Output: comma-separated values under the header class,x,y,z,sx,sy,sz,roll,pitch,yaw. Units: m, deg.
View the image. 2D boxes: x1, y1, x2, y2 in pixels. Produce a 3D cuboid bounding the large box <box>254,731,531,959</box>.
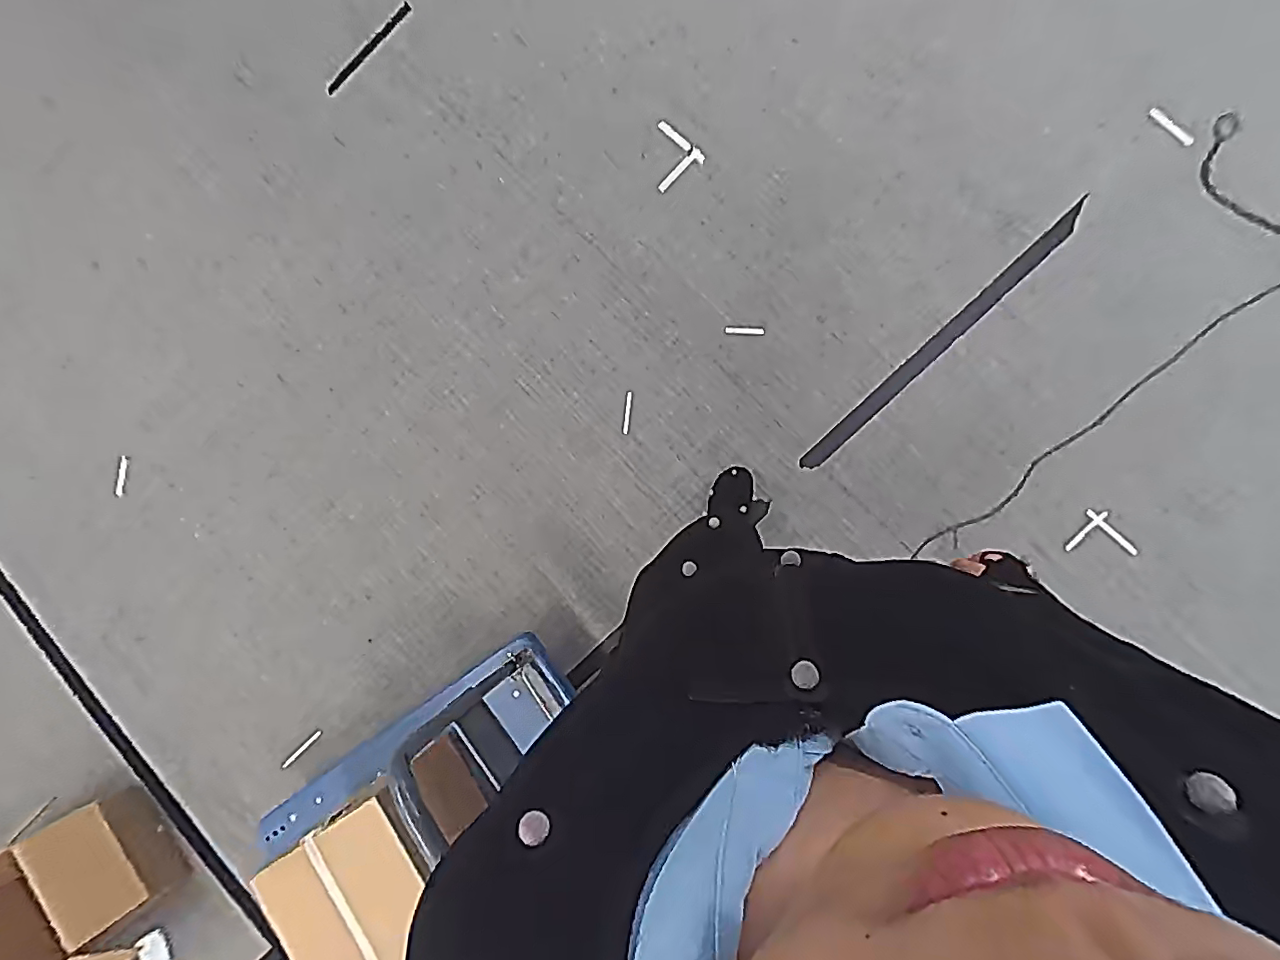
class,x,y,z,sx,sy,sz,roll,pitch,yaw
large box,-0.503,0.850,1.171,0.320,0.320,0.408,-34,85,4
